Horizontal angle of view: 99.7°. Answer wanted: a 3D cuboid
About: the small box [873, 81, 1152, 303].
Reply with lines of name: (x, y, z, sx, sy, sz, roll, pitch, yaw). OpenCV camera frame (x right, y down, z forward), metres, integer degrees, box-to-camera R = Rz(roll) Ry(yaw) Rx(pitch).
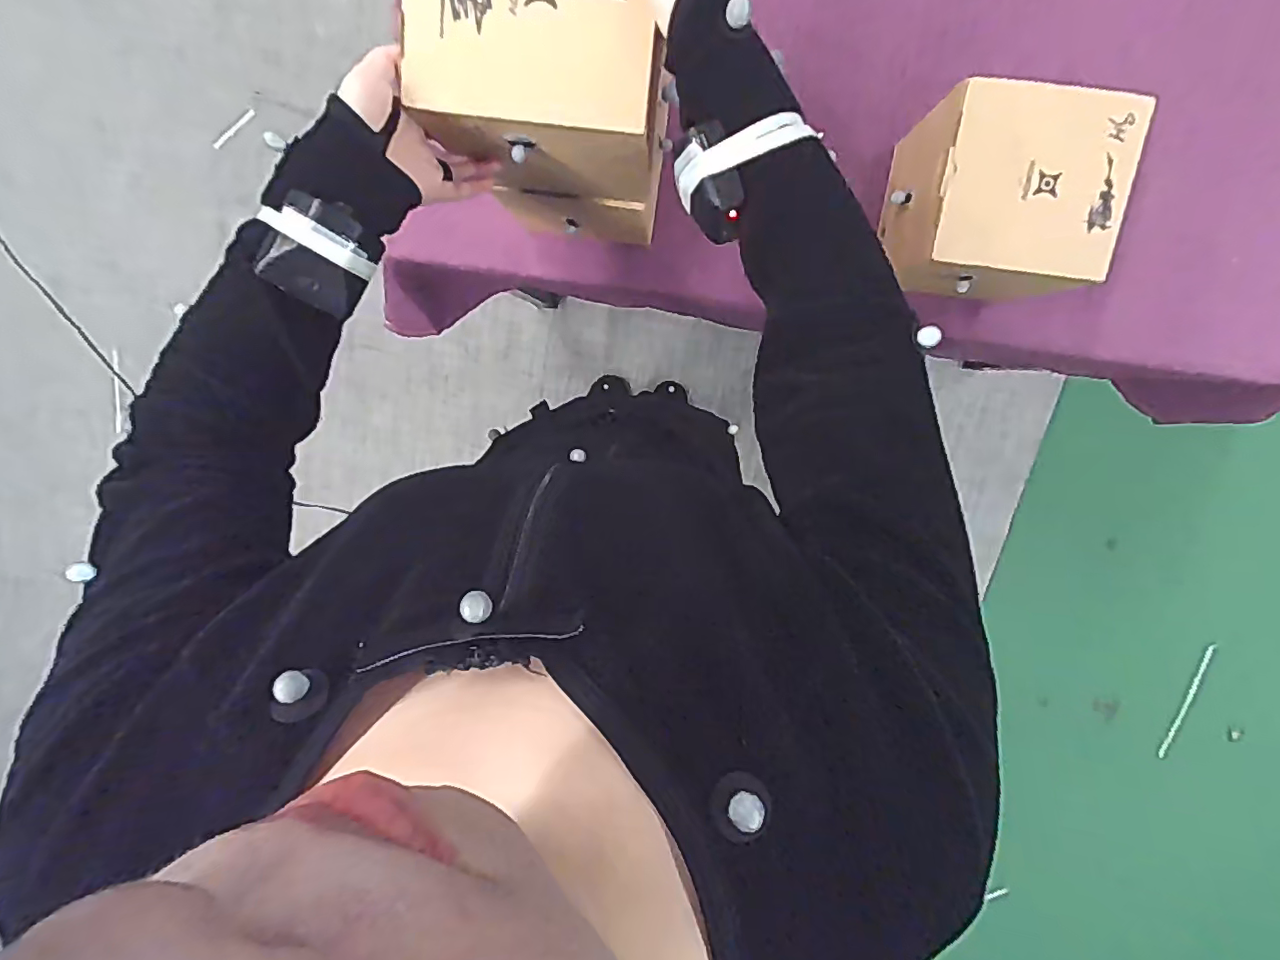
small box: (0.381, -0.297, 0.595, 0.179, 0.176, 0.168, 8, 102, 2)

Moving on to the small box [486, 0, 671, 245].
small box: (-0.059, -0.376, 0.602, 0.168, 0.176, 0.179, 9, 101, 0)
